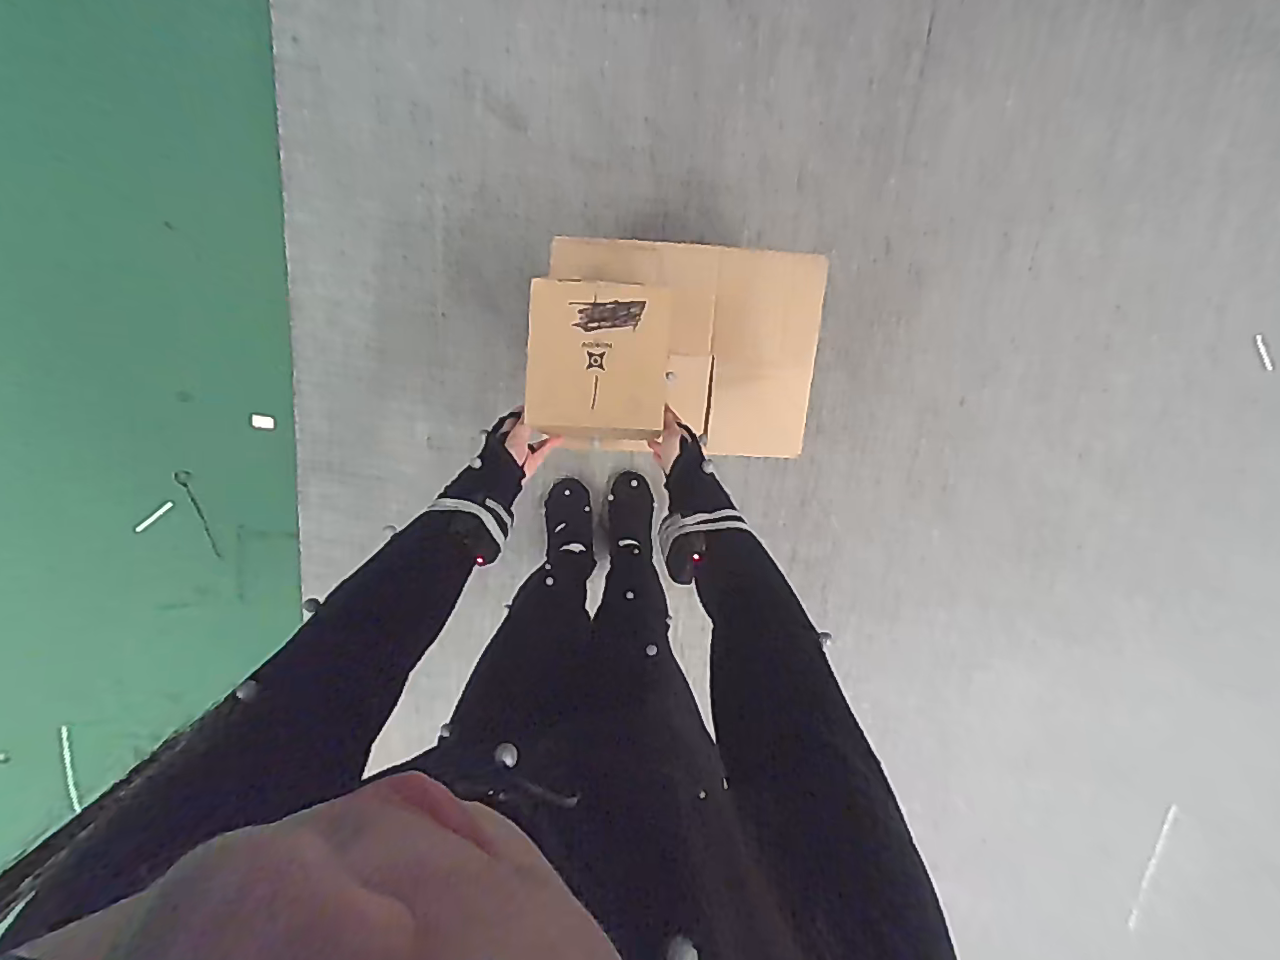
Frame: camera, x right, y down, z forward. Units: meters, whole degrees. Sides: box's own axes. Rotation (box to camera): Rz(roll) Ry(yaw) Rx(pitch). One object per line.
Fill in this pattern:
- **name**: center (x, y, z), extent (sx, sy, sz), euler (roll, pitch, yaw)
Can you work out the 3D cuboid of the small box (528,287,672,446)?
- **small box**: center (-0.049, -0.142, 0.730), extent (0.168, 0.176, 0.179), euler (4, 91, 0)
